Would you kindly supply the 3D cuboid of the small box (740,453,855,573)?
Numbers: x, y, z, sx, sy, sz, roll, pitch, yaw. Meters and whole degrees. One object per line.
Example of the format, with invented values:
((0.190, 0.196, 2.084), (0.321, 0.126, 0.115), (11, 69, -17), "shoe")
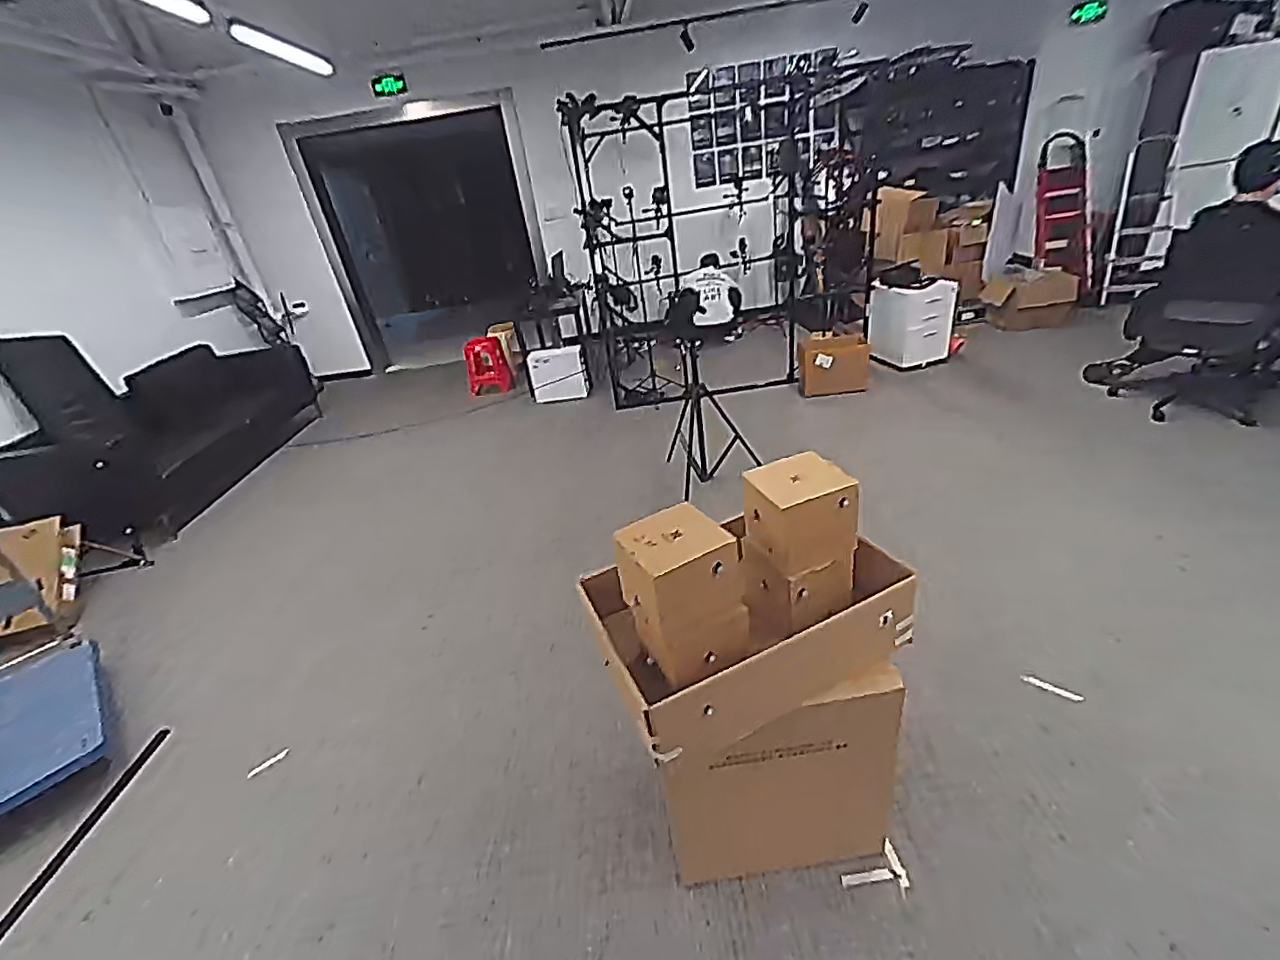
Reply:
((0.330, 0.069, 1.140), (0.179, 0.176, 0.168), (-18, 30, -13), "small box")

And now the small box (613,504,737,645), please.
((0.069, 0.176, 1.028), (0.179, 0.176, 0.168), (-22, 32, -21), "small box")
